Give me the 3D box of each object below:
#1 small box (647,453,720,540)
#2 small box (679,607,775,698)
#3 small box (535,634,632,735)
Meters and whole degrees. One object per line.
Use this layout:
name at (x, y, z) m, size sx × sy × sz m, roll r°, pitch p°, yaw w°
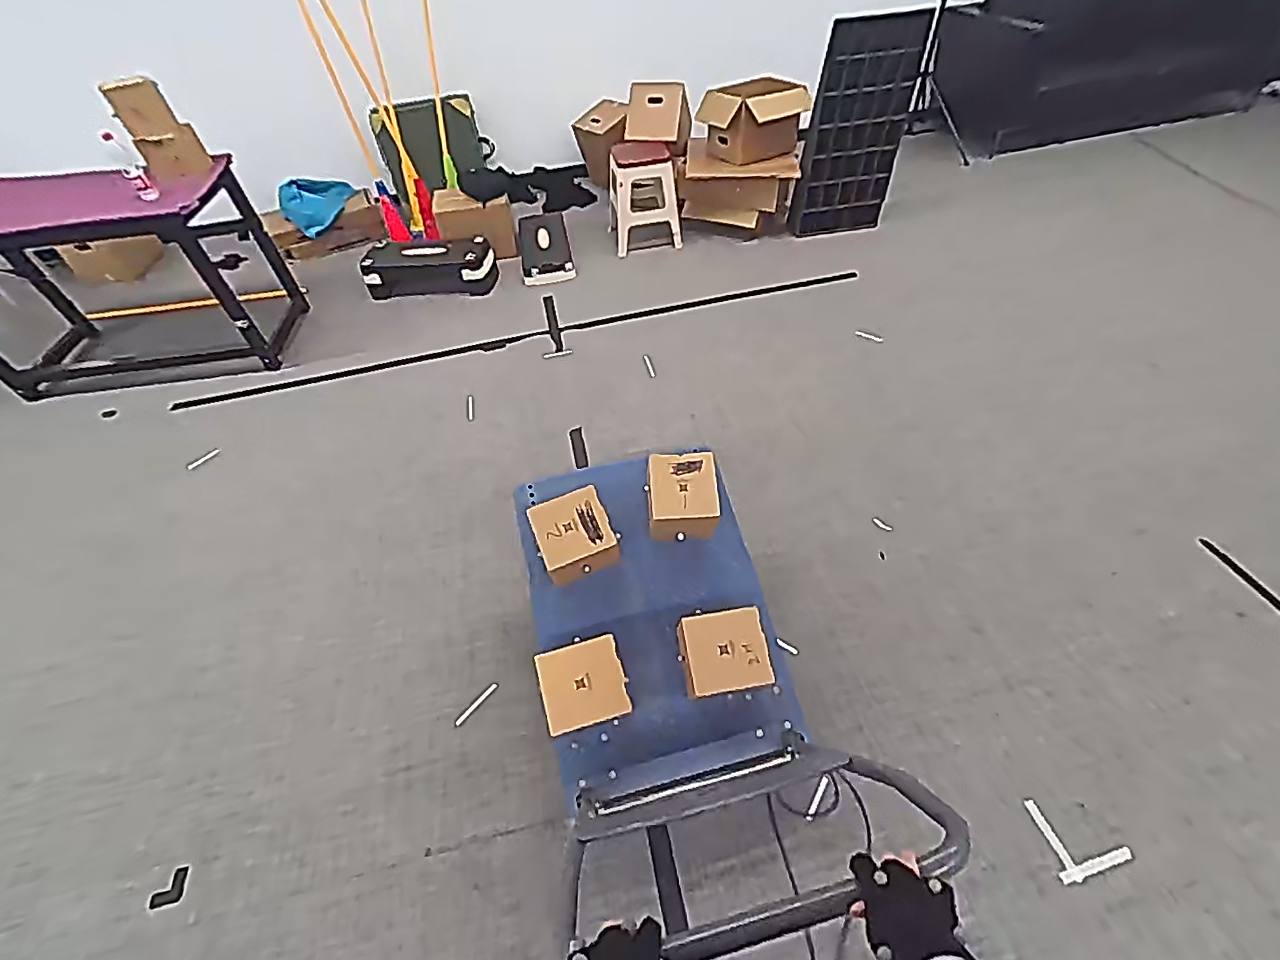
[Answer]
small box at (0.106, 0.045, 1.398) m, size 0.168 × 0.176 × 0.179 m, roll -3°, pitch 67°, yaw -2°
small box at (0.189, 0.400, 1.240) m, size 0.179 × 0.176 × 0.168 m, roll -8°, pitch 67°, yaw -4°
small box at (-0.122, 0.461, 1.209) m, size 0.179 × 0.176 × 0.168 m, roll -15°, pitch 67°, yaw -9°
